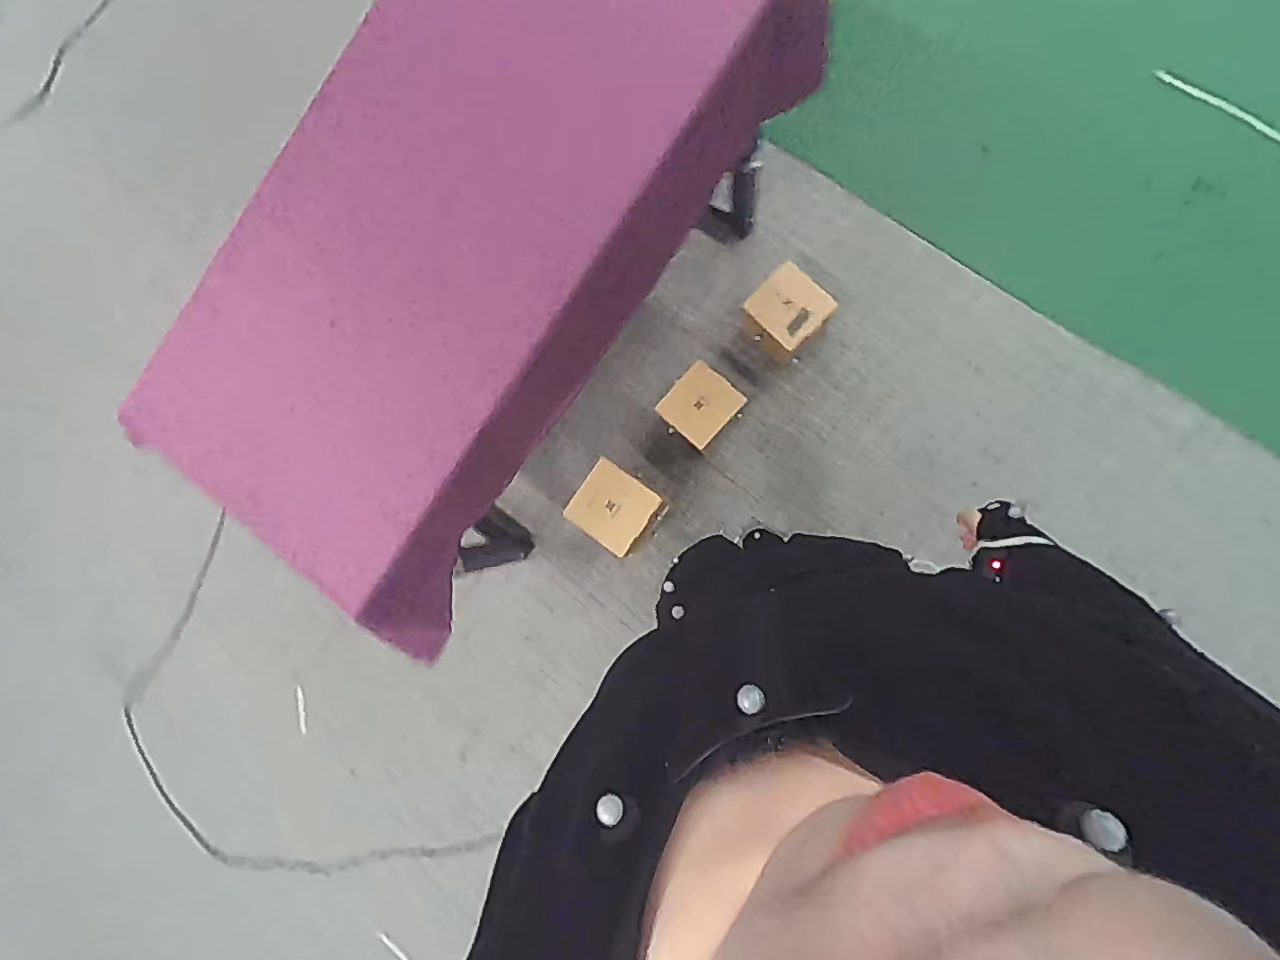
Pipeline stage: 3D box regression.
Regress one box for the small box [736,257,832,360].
[{"bbox_3d":[0.372,-0.438,1.420,0.168,0.176,0.179,-44,80,4],"label":"small box"}]
